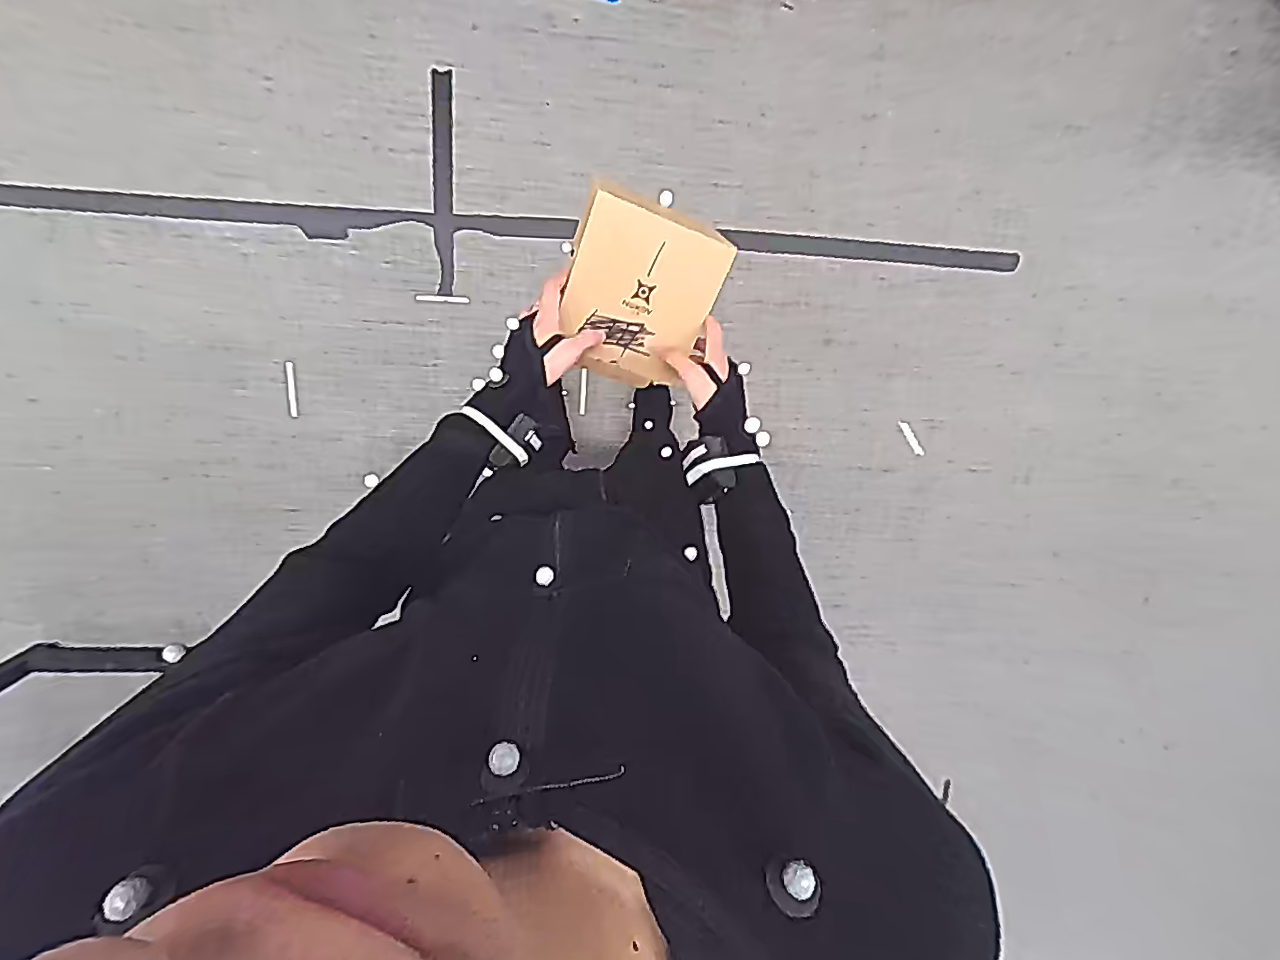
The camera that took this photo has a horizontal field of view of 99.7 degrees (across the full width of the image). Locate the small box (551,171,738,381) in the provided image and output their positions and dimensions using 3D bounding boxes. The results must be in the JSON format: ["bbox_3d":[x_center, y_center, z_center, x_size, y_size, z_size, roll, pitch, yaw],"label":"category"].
[{"bbox_3d":[-0.004,-0.256,0.673,0.168,0.176,0.179,15,121,-17],"label":"small box"}]
